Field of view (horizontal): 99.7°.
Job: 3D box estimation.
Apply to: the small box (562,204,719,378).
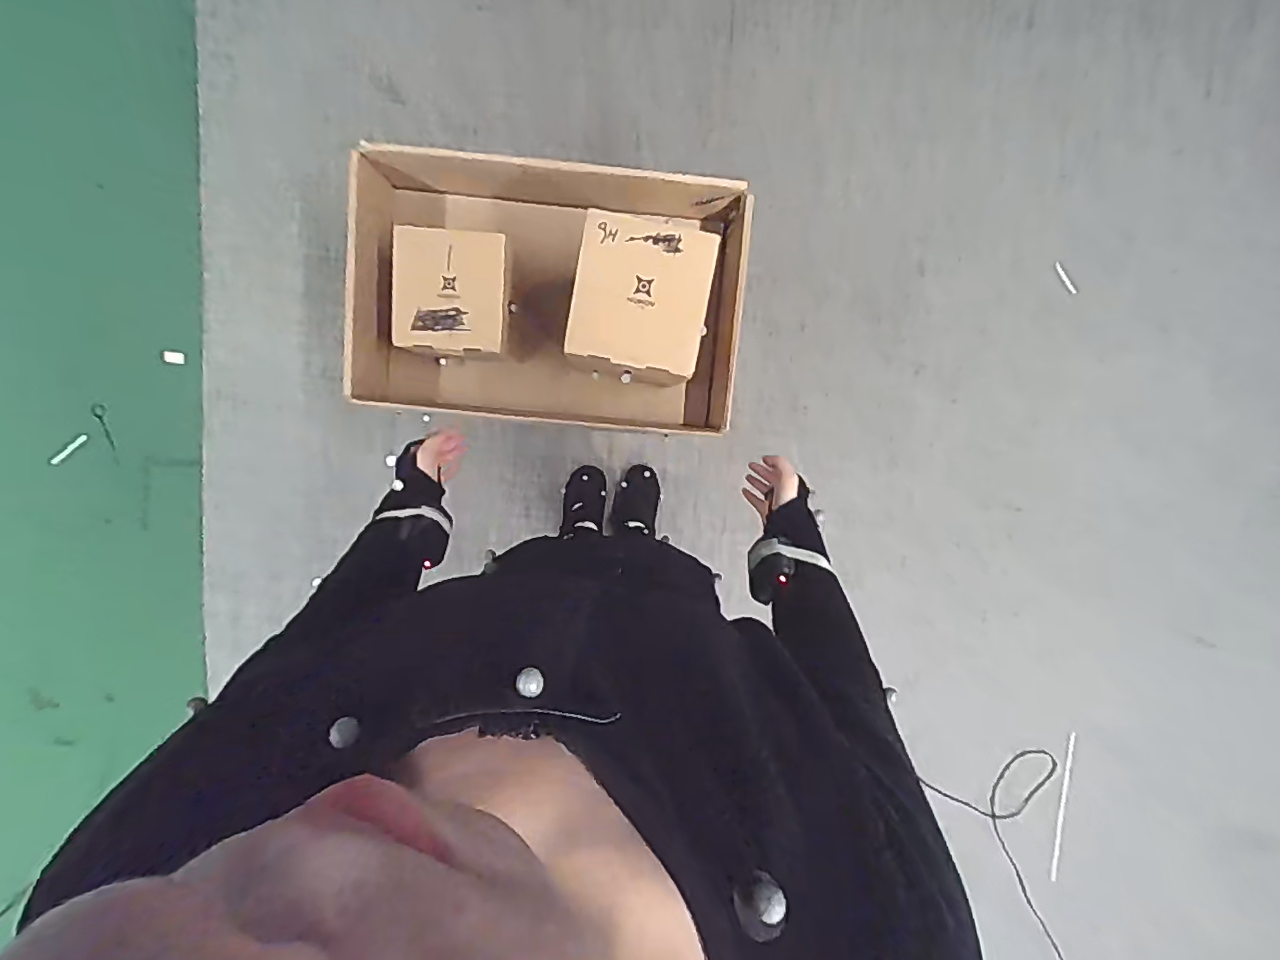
[{"bbox_3d":[-0.001,-0.240,0.735,0.168,0.176,0.179,11,98,-3],"label":"small box"}]
